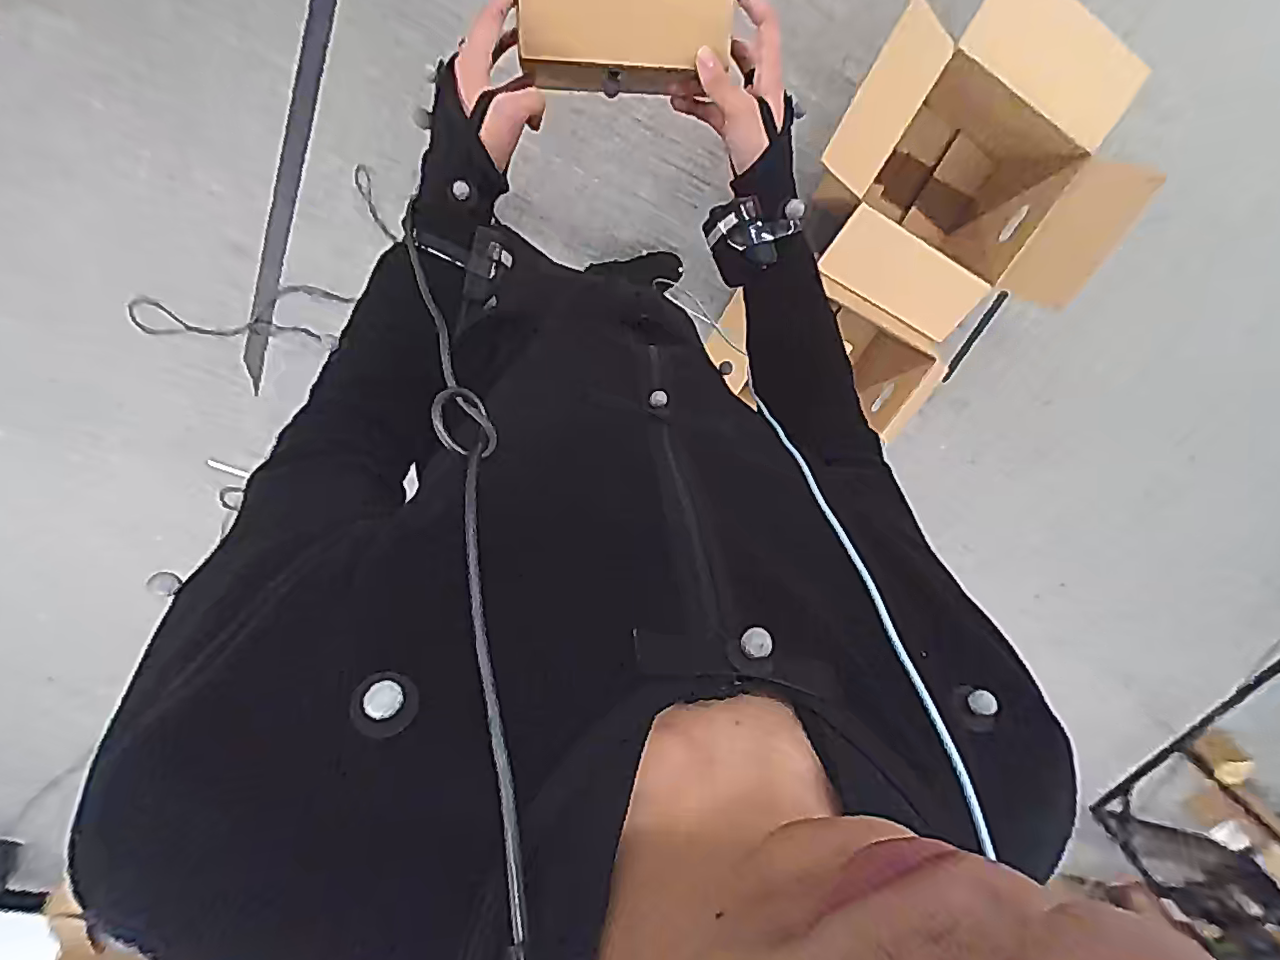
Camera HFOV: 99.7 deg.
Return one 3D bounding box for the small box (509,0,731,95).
[{"bbox_3d":[-0.025,-0.447,0.470,0.179,0.176,0.168,-3,120,-8],"label":"small box"}]
